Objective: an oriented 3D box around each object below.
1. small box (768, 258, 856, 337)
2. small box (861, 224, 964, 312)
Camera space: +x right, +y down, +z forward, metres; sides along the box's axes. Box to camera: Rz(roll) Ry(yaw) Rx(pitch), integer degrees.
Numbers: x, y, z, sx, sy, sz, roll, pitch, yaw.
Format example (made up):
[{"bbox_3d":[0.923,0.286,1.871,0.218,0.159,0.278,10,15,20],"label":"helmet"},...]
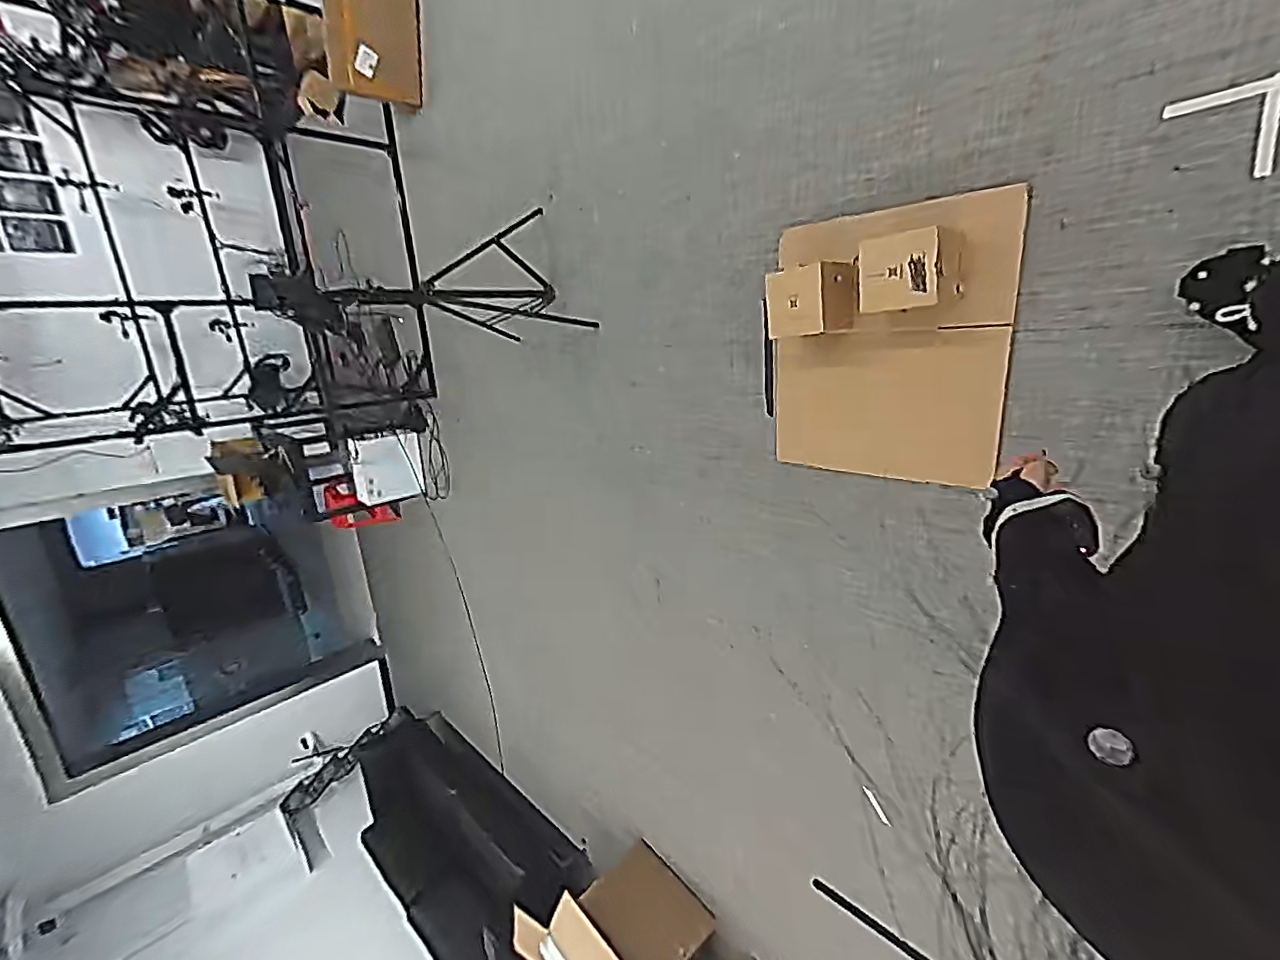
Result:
[{"bbox_3d":[0.466,-0.488,1.460,0.168,0.176,0.179,5,108,47],"label":"small box"},{"bbox_3d":[0.641,-0.491,1.267,0.179,0.176,0.168,8,109,46],"label":"small box"}]
